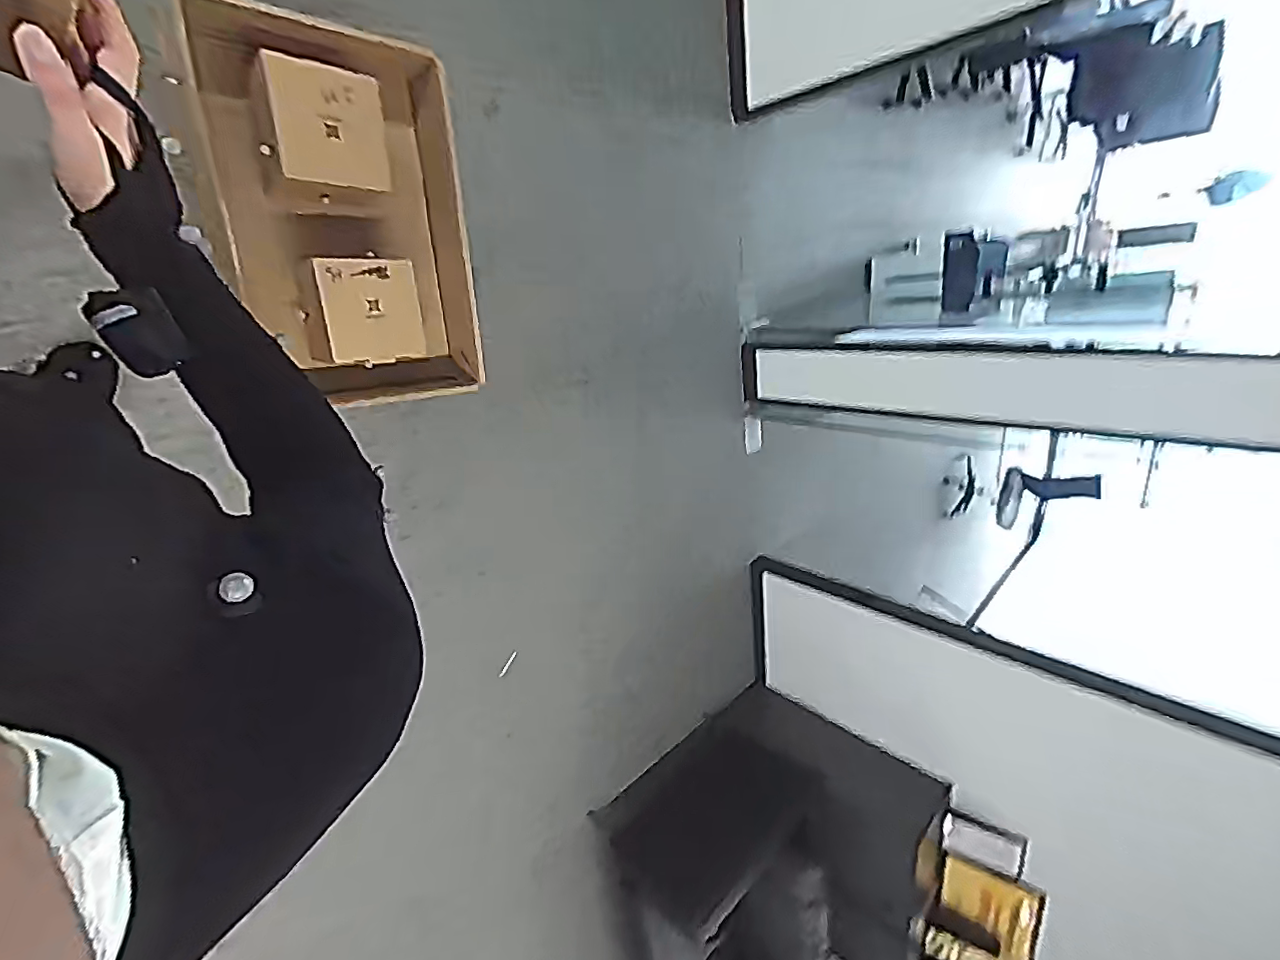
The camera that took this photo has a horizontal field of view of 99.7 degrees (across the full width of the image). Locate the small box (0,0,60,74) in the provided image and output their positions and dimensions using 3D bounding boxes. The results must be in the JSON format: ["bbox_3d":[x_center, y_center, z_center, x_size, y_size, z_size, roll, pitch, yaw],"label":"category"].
[{"bbox_3d":[-0.468,-0.403,0.329,0.168,0.176,0.179,5,90,-52],"label":"small box"}]
